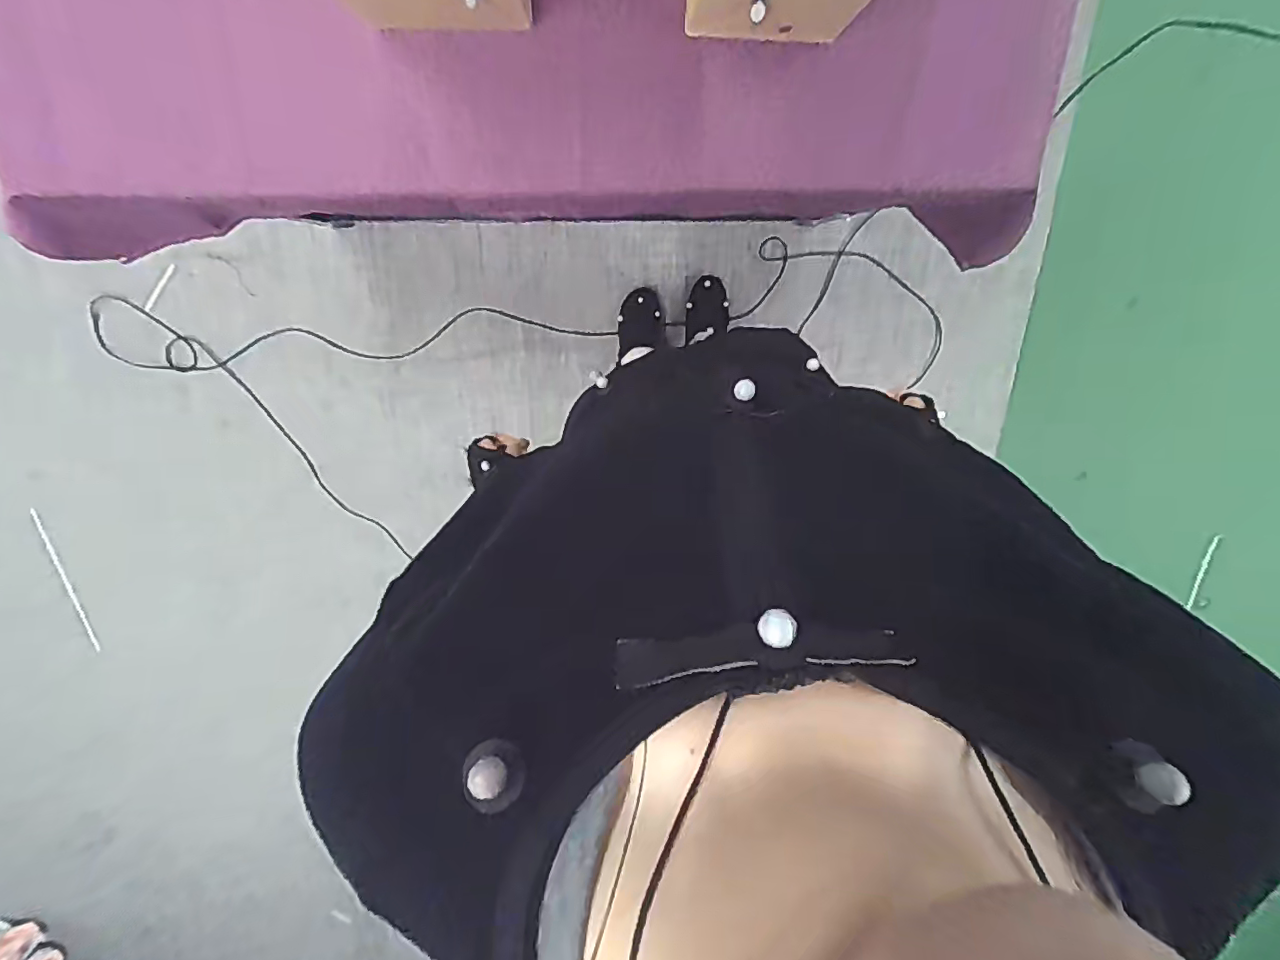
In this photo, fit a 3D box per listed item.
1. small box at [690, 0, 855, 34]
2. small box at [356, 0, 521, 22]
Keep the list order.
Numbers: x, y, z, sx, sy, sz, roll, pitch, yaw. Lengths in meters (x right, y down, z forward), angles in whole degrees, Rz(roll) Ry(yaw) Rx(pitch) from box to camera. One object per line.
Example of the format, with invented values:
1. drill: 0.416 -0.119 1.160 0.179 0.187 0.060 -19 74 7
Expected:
1. small box: 0.137 -0.541 0.488 0.168 0.176 0.179 1 110 -3
2. small box: -0.198 -0.539 0.473 0.179 0.176 0.168 -1 110 -2
